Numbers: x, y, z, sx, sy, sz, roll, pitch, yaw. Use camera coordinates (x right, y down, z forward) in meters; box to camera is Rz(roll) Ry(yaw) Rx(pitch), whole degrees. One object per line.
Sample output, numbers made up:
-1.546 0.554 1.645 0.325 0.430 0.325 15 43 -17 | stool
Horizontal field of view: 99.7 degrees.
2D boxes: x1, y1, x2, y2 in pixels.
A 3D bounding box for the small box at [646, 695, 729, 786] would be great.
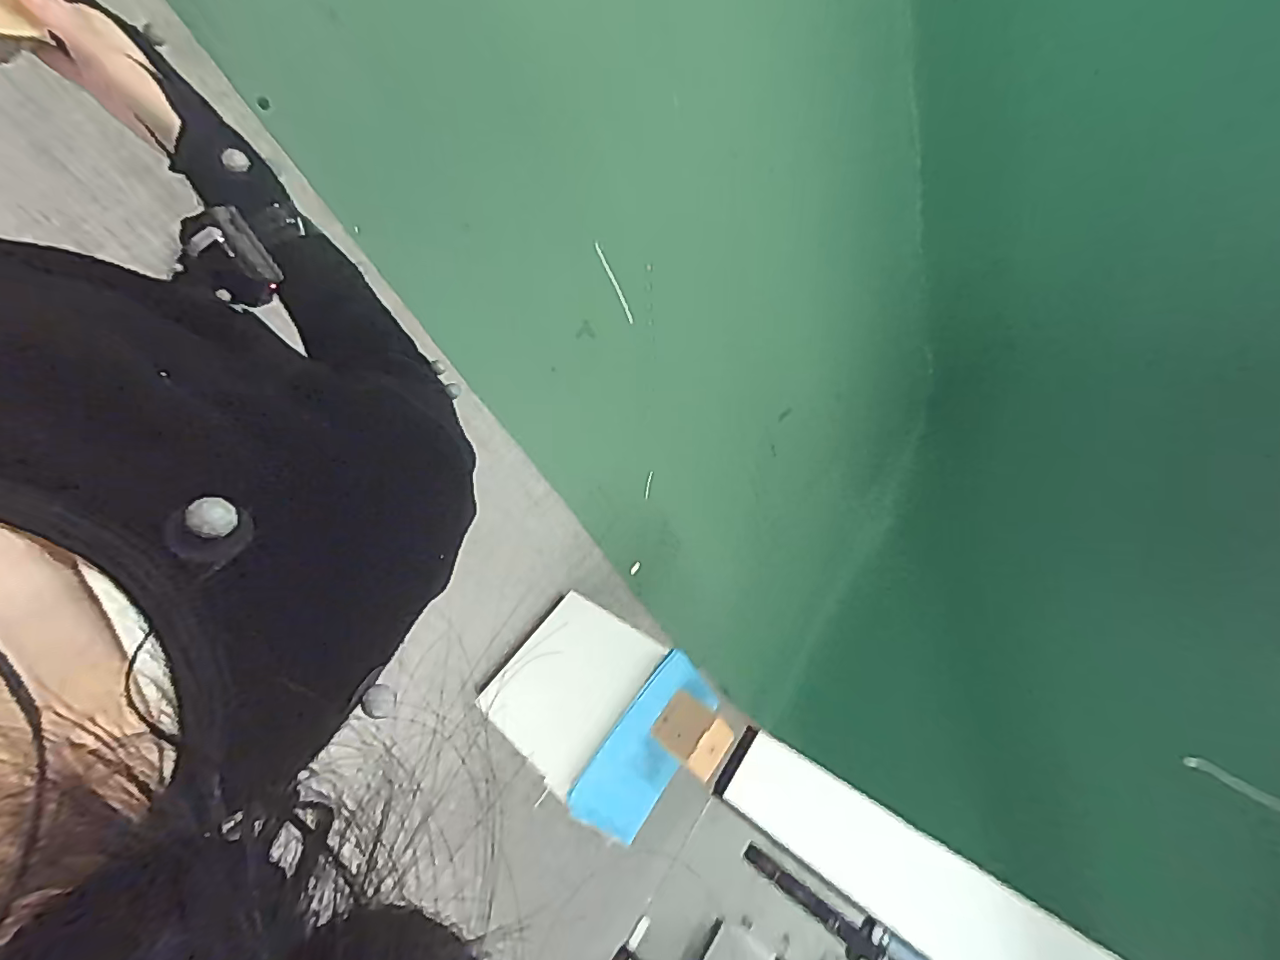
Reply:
0.144 0.802 1.682 0.168 0.176 0.179 -48 134 -22 | small box
